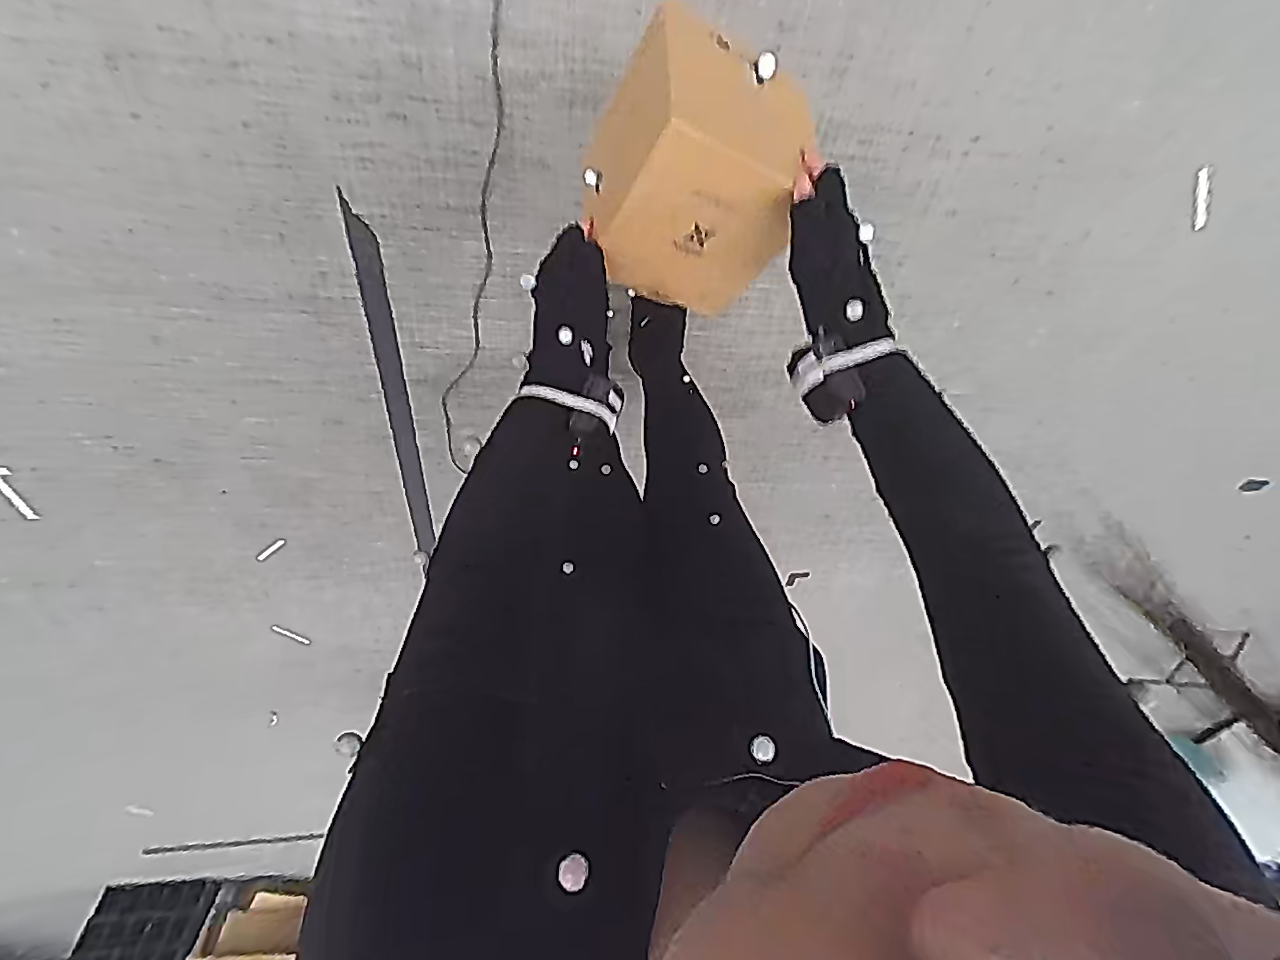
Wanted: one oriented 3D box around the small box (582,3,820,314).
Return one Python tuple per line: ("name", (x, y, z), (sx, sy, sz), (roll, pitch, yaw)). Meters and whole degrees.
("small box", (0.052, -0.307, 0.546), (0.168, 0.176, 0.179), (10, 155, -27))
